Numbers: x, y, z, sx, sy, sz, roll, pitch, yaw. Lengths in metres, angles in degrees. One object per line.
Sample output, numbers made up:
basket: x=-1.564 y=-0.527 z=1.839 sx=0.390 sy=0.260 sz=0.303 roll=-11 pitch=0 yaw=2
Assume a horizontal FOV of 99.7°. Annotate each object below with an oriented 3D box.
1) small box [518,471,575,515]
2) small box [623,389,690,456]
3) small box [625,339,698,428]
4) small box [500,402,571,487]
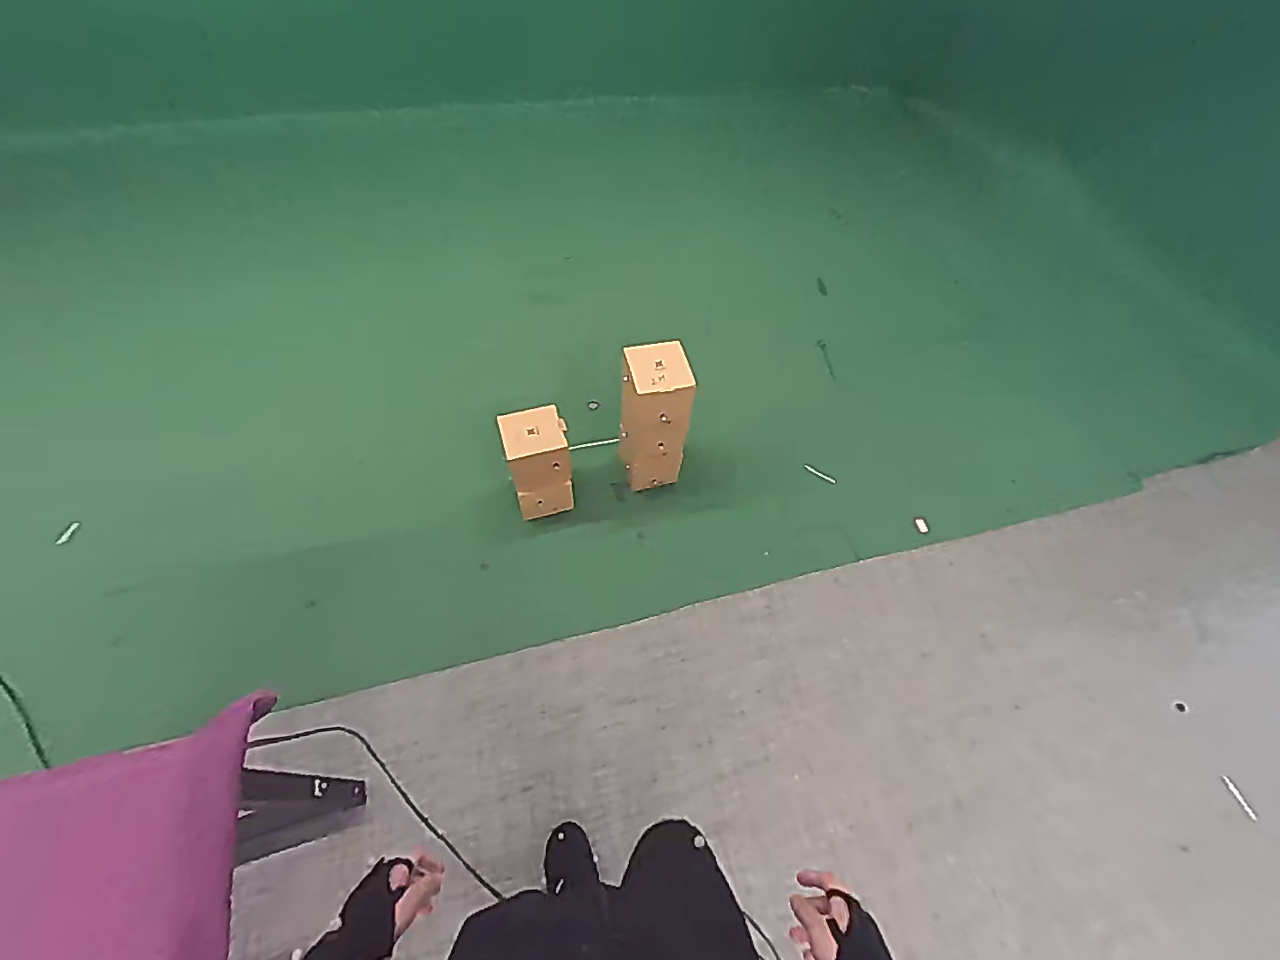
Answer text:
small box: x=-0.310 y=-0.004 z=1.740 sx=0.168 sy=0.176 sz=0.179 roll=-14 pitch=60 yaw=-12
small box: x=0.046 y=-0.189 z=1.683 sx=0.168 sy=0.176 sz=0.179 roll=-10 pitch=61 yaw=-11
small box: x=0.053 y=-0.274 z=1.543 sx=0.168 sy=0.176 sz=0.179 roll=-10 pitch=61 yaw=-10
small box: x=-0.305 y=-0.102 z=1.610 sx=0.179 sy=0.176 sz=0.168 roll=-14 pitch=59 yaw=-11
